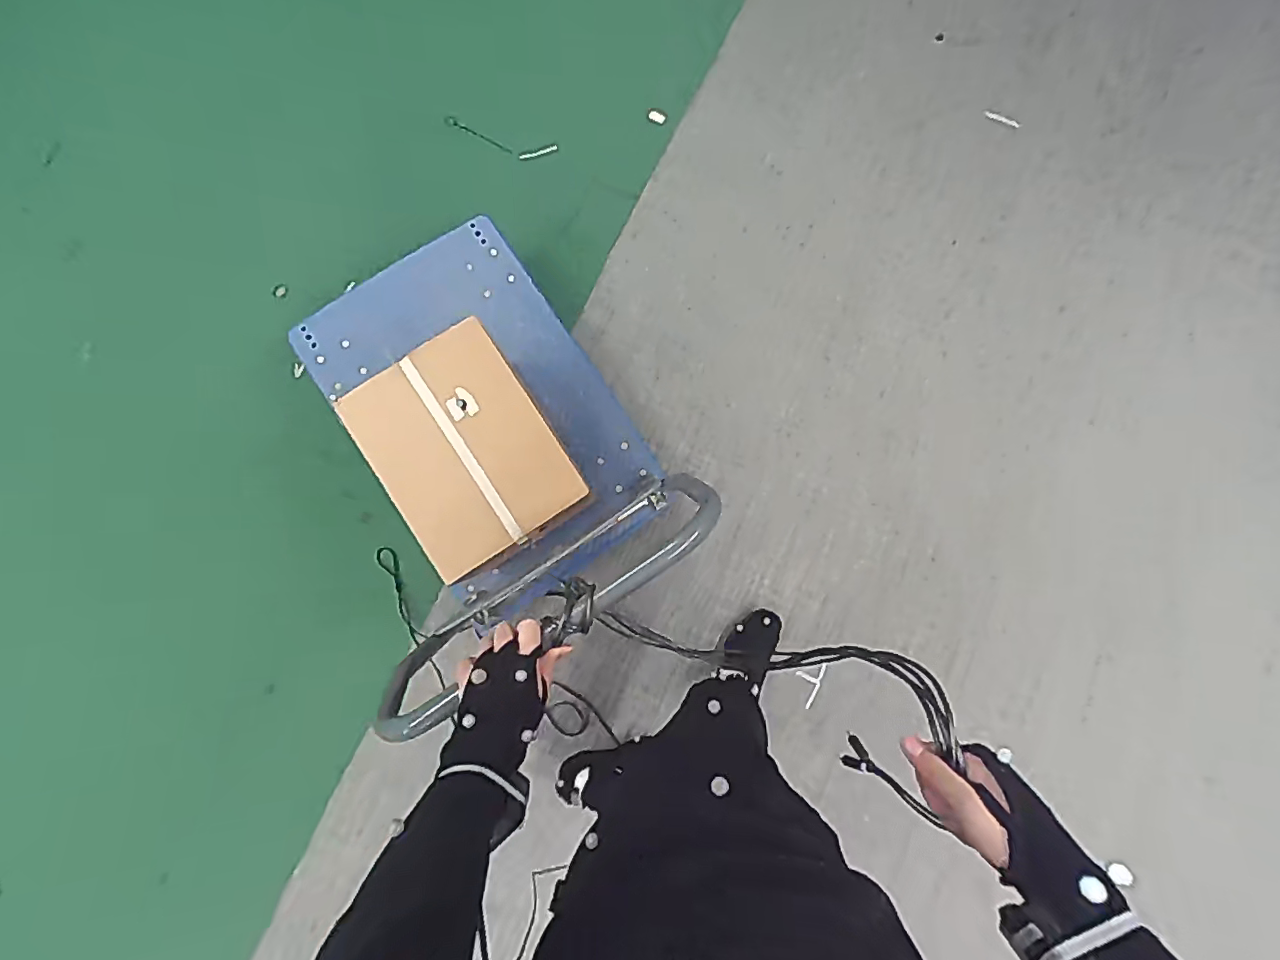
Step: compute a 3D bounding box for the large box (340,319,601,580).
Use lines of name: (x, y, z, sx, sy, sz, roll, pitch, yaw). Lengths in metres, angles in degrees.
large box: (-0.324, -0.049, 1.151, 0.320, 0.320, 0.408, -34, 87, -4)
